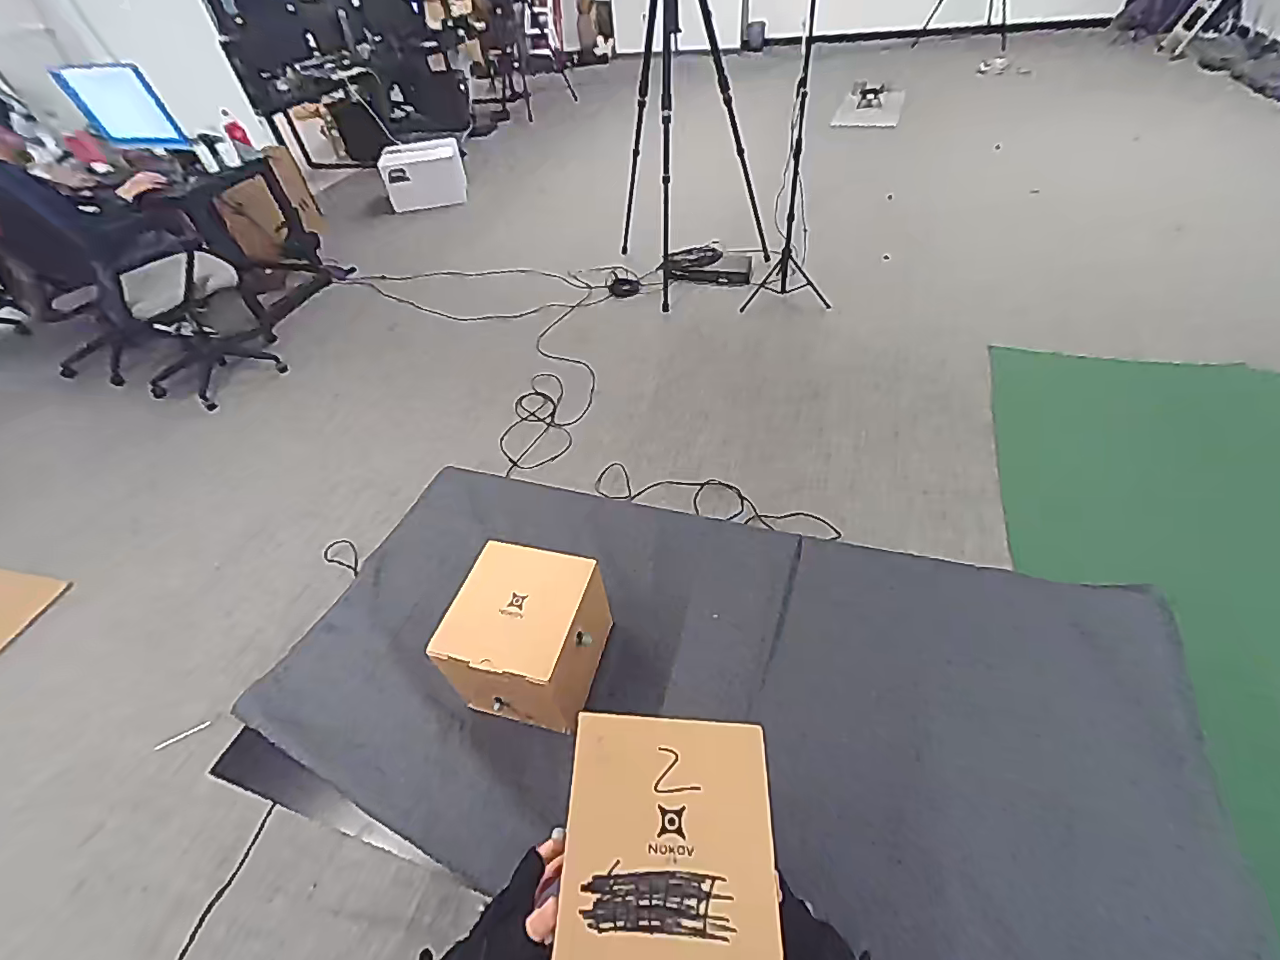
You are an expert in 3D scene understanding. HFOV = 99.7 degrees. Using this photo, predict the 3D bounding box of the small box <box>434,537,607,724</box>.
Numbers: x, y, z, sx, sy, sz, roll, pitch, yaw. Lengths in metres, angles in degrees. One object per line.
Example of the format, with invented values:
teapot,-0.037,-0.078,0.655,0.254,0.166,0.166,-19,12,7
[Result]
small box,-0.150,0.211,0.759,0.168,0.176,0.179,9,50,14
